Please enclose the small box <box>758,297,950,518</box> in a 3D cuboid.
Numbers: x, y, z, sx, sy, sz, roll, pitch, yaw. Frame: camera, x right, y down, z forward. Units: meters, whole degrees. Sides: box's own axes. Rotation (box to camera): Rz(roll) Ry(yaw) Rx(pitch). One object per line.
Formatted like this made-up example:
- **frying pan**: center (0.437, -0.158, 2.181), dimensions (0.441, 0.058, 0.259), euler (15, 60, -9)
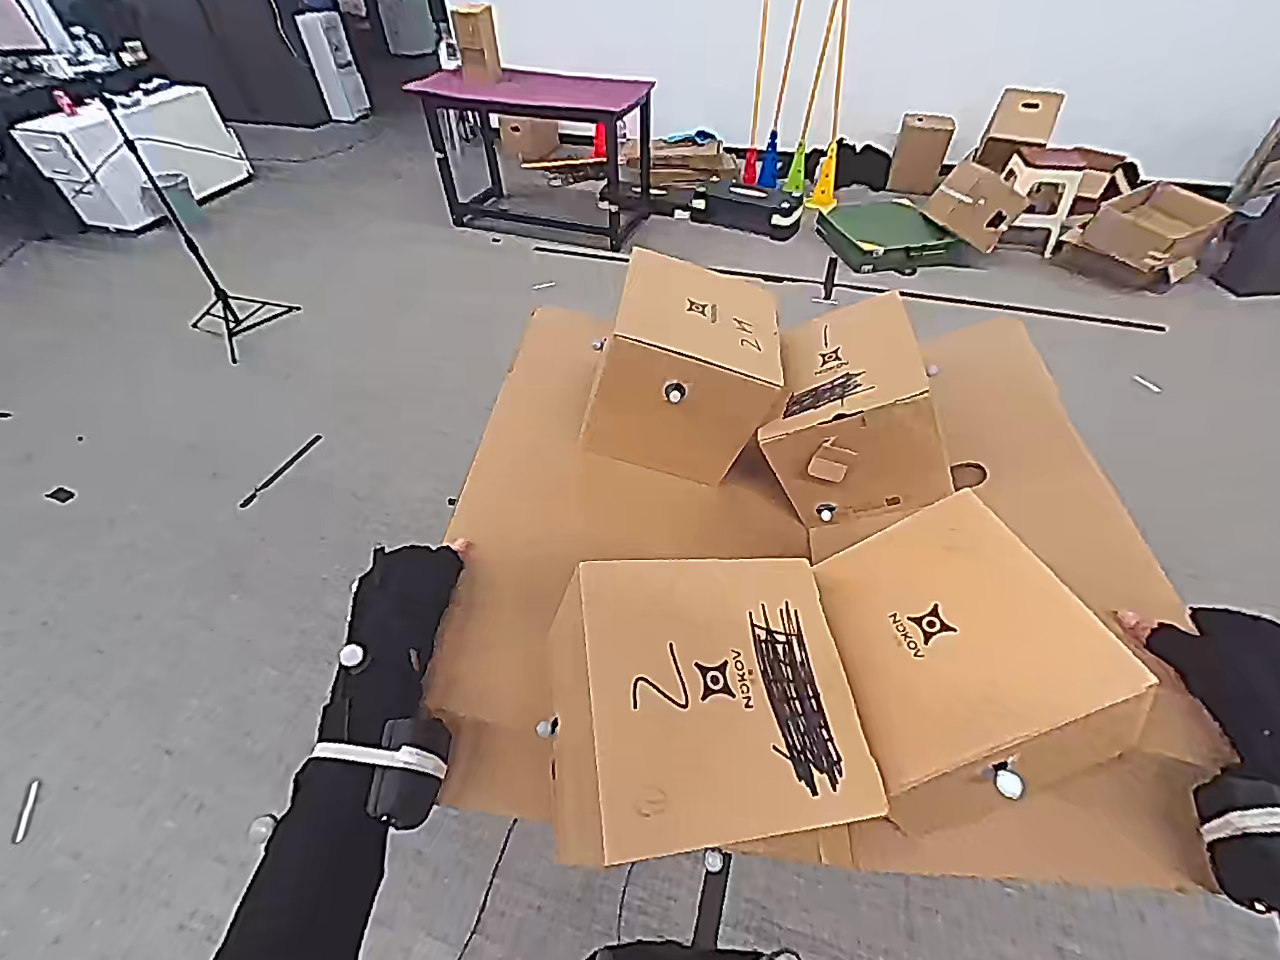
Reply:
- **small box**: center (0.246, -0.072, 0.633), dimensions (0.168, 0.176, 0.179), euler (-15, 44, 27)
